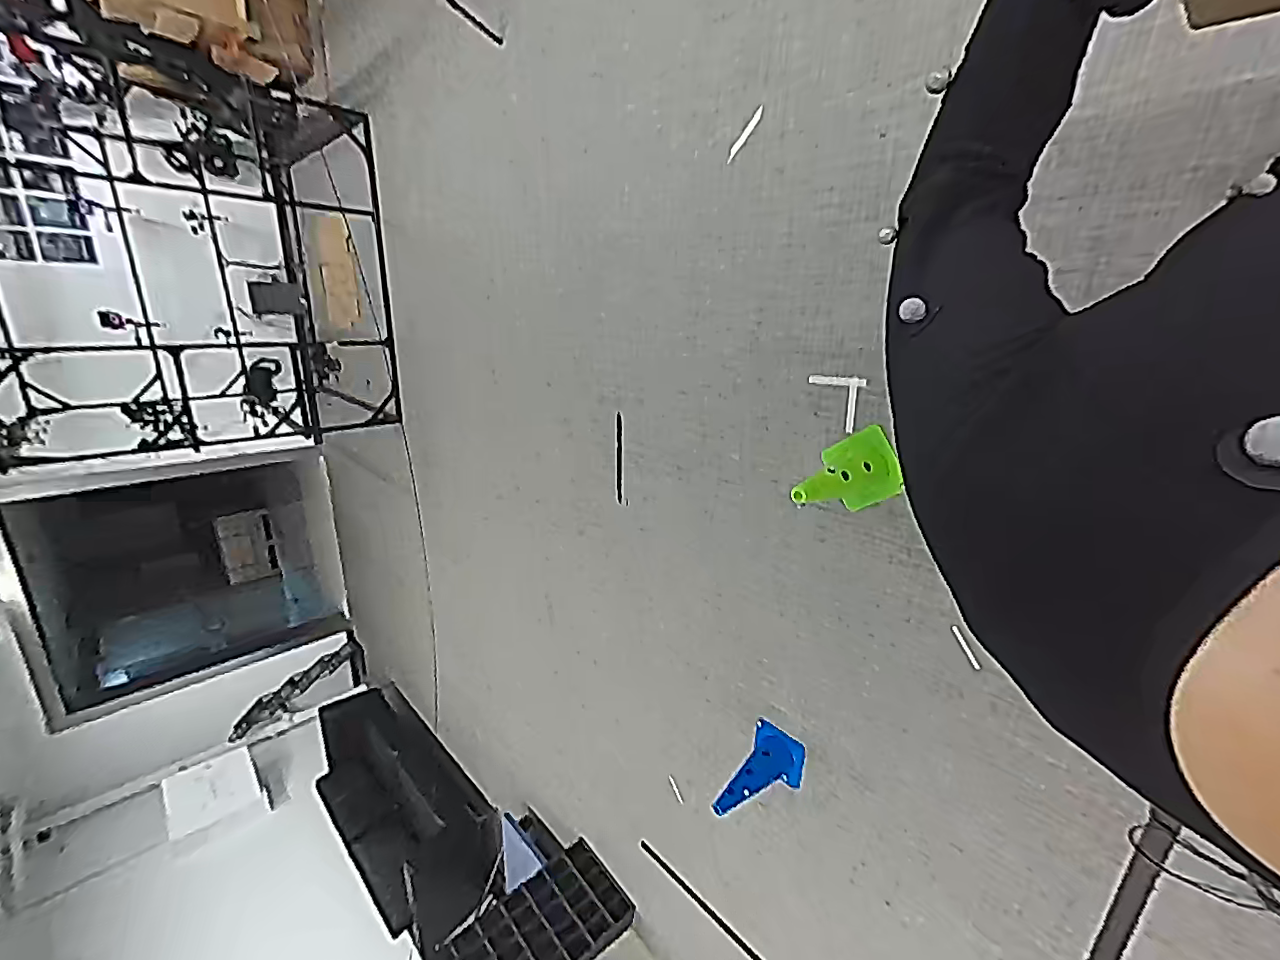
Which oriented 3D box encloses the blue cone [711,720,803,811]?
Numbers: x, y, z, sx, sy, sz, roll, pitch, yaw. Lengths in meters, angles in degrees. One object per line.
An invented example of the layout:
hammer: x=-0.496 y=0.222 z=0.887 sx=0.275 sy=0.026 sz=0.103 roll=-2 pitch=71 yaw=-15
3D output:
blue cone: x=0.387 y=1.029 z=1.874 sx=0.192 sy=0.380 sz=0.193 roll=23 pitch=117 yaw=43

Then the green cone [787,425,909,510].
green cone: x=0.506 y=-0.001 z=1.419 sx=0.202 sy=0.368 sz=0.200 roll=-36 pitch=74 yaw=48
